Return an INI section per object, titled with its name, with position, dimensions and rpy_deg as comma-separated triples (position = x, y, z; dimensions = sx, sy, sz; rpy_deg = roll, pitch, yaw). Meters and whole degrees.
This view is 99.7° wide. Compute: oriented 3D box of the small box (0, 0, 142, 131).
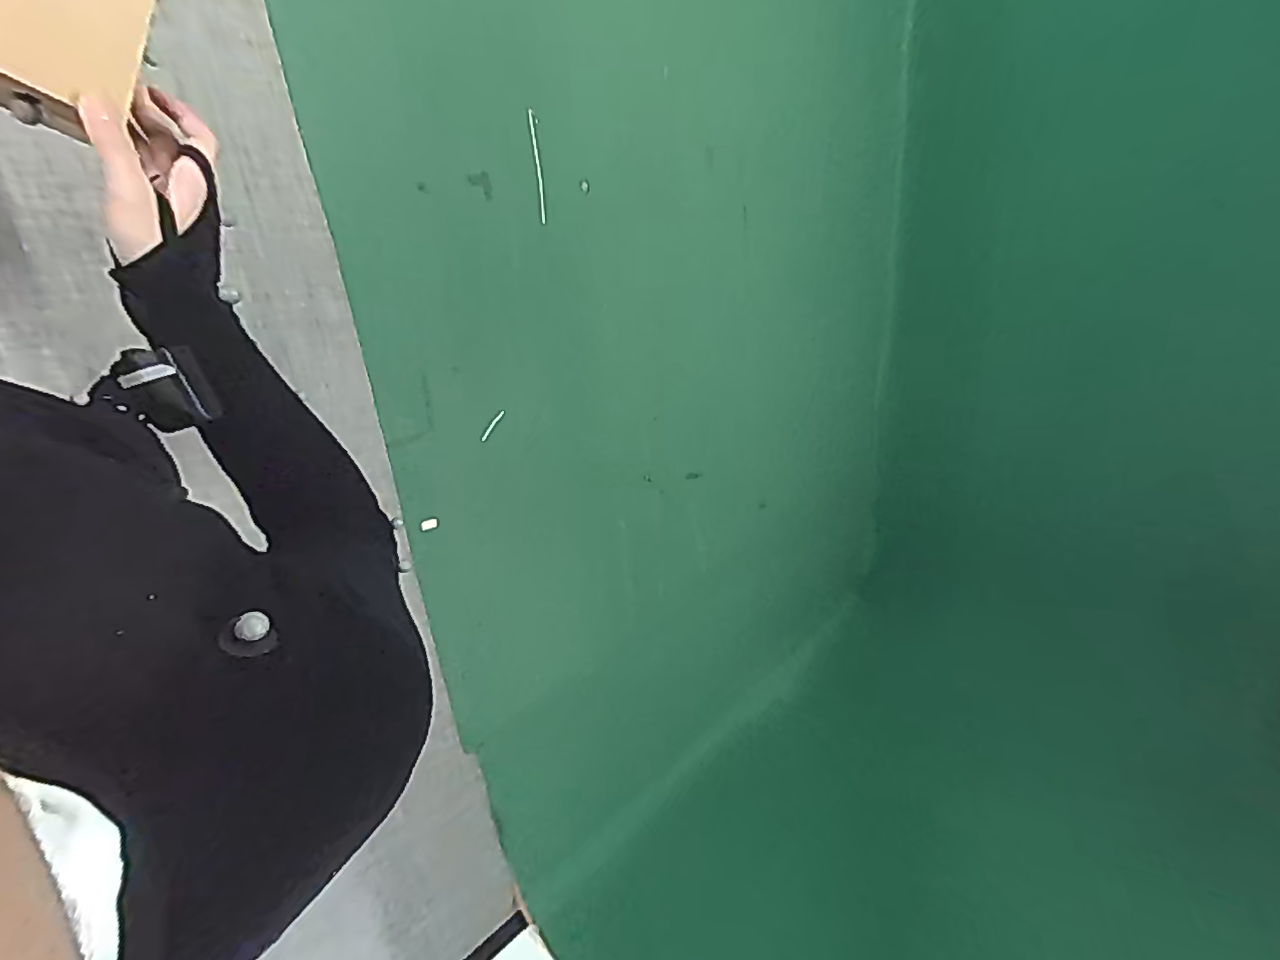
[small box]
position = -0.452, -0.361, 0.353
dimensions = 0.179, 0.176, 0.168
rpy_deg = 12, 97, -50
